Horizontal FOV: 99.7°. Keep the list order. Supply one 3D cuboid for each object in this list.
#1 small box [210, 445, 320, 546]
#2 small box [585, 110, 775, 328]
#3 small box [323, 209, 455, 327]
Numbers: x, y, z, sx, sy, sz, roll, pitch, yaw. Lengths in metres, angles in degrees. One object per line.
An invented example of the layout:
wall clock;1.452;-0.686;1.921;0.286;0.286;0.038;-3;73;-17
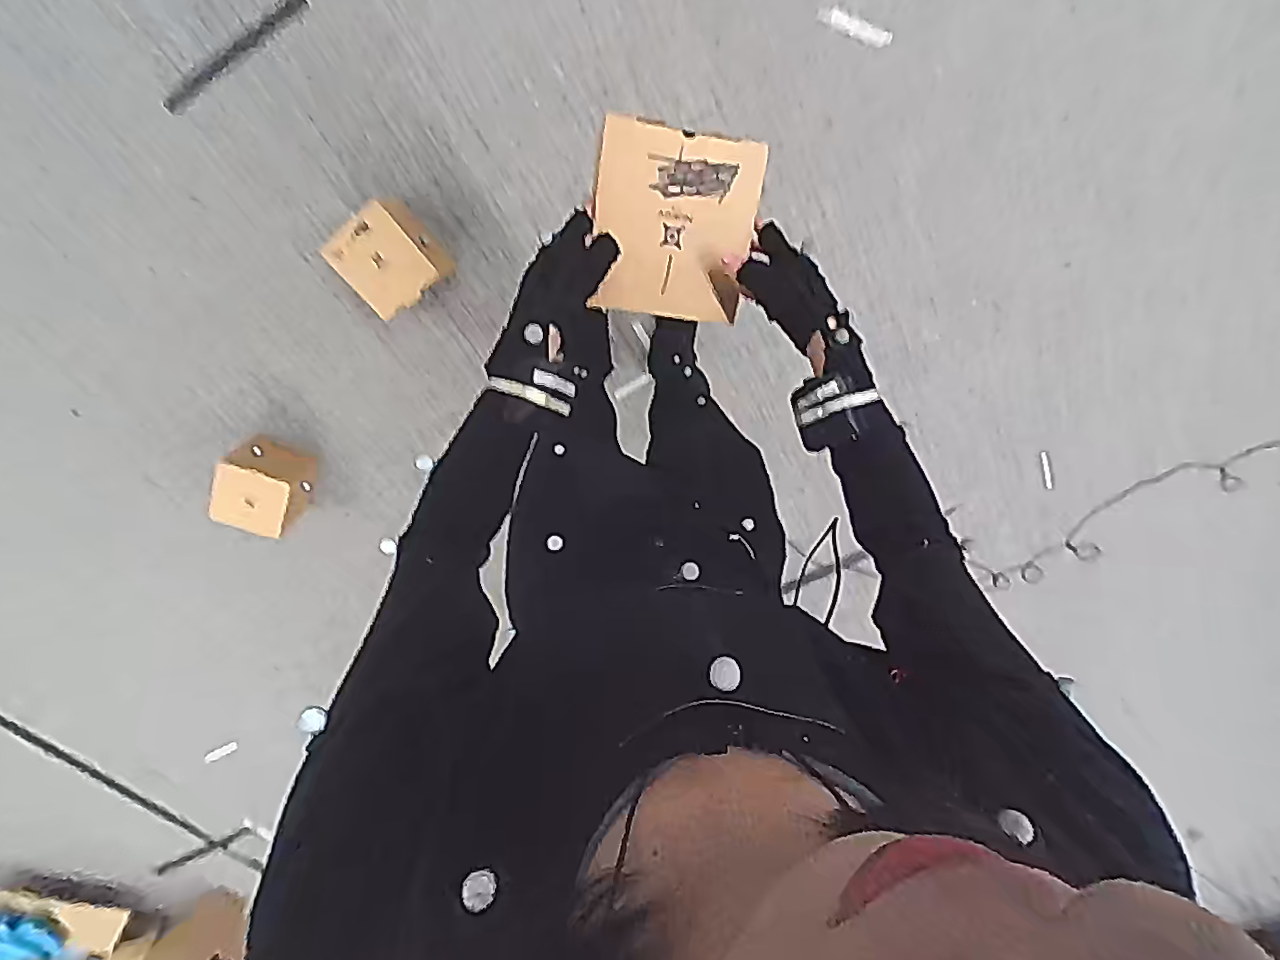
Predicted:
small box;-0.954;0.033;1.388;0.168;0.176;0.179;21;113;-13
small box;0.029;-0.276;0.606;0.168;0.176;0.179;5;110;-9
small box;-0.533;-0.467;1.177;0.168;0.176;0.179;-35;115;11
